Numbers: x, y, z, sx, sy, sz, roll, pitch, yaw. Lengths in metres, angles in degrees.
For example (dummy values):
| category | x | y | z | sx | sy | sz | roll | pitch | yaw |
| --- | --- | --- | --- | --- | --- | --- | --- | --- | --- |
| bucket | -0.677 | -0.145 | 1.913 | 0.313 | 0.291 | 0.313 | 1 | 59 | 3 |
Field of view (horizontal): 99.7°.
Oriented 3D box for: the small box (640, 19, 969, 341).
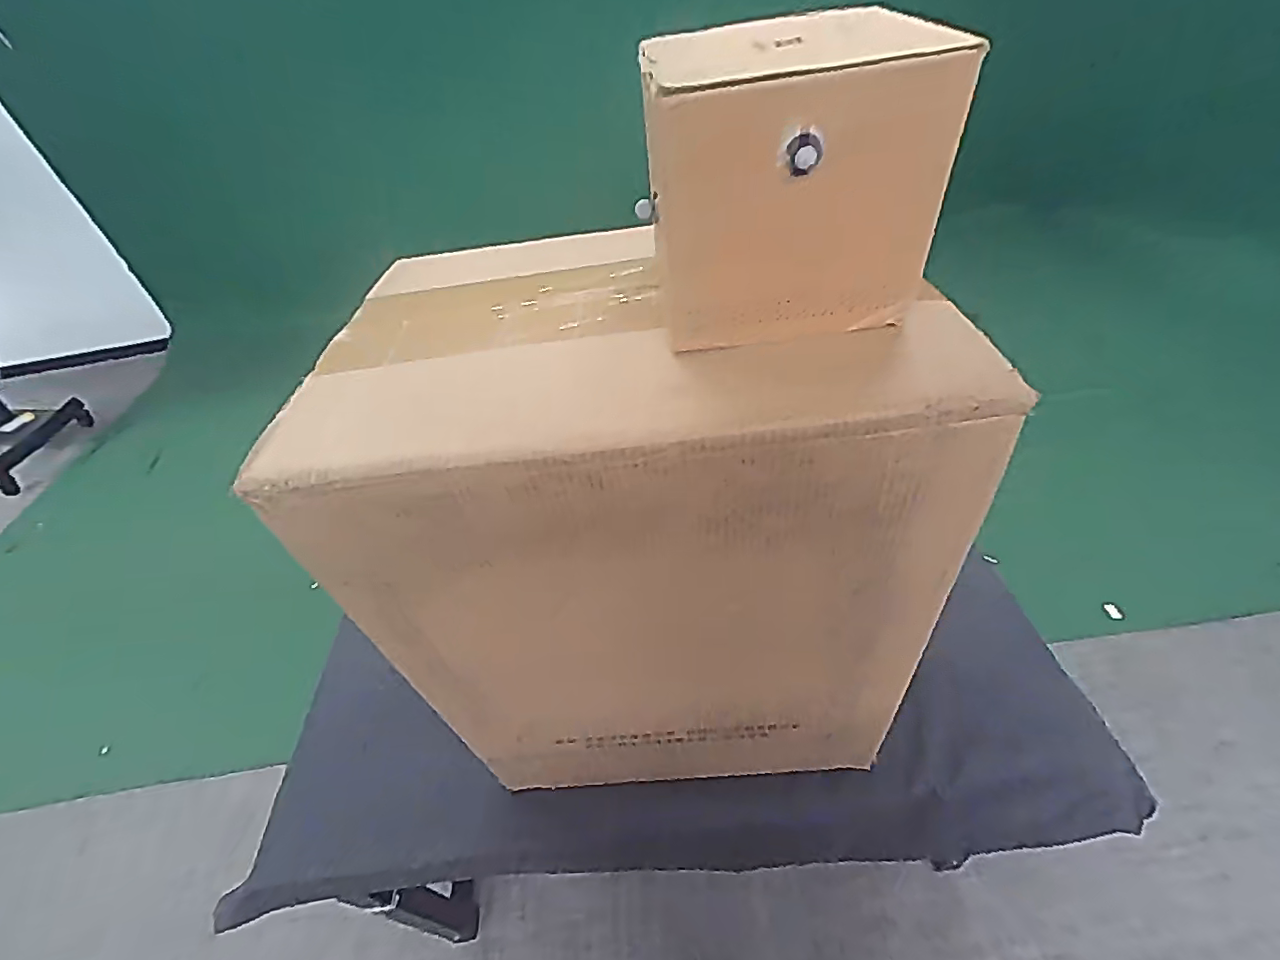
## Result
| category | x | y | z | sx | sy | sz | roll | pitch | yaw |
| --- | --- | --- | --- | --- | --- | --- | --- | --- | --- |
| small box | 0.097 | -0.219 | 0.405 | 0.179 | 0.176 | 0.168 | -5 | 46 | 1 |
